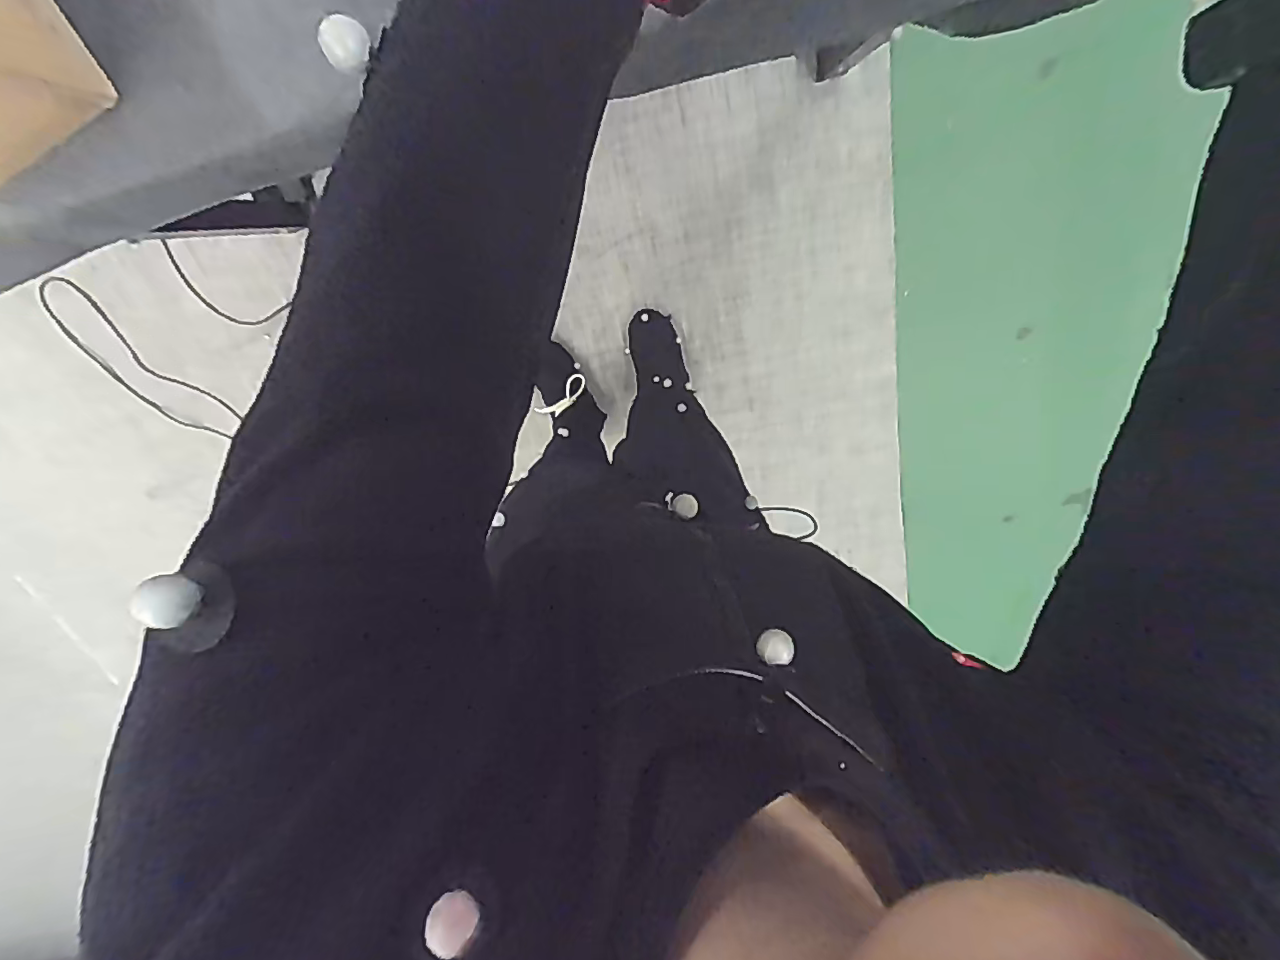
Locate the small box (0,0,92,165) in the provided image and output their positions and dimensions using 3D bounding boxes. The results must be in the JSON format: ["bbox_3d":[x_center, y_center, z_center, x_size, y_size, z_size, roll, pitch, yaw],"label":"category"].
[{"bbox_3d":[-0.539,-0.325,0.357,0.179,0.176,0.168,-21,112,11],"label":"small box"}]
